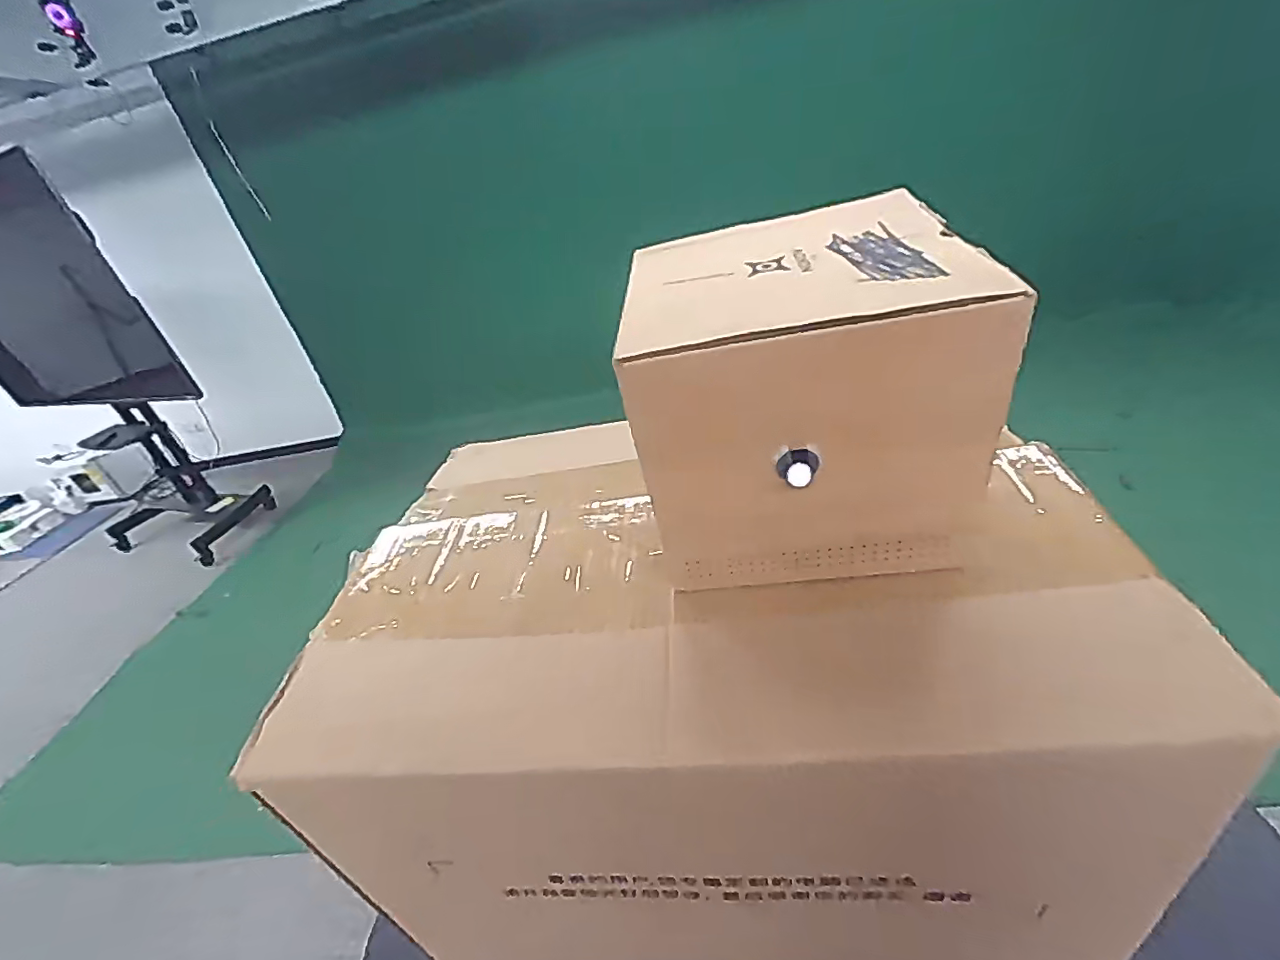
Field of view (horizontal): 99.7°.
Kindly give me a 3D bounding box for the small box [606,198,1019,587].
[{"bbox_3d":[0.091,-0.051,0.341,0.179,0.176,0.168,-7,39,11],"label":"small box"}]
